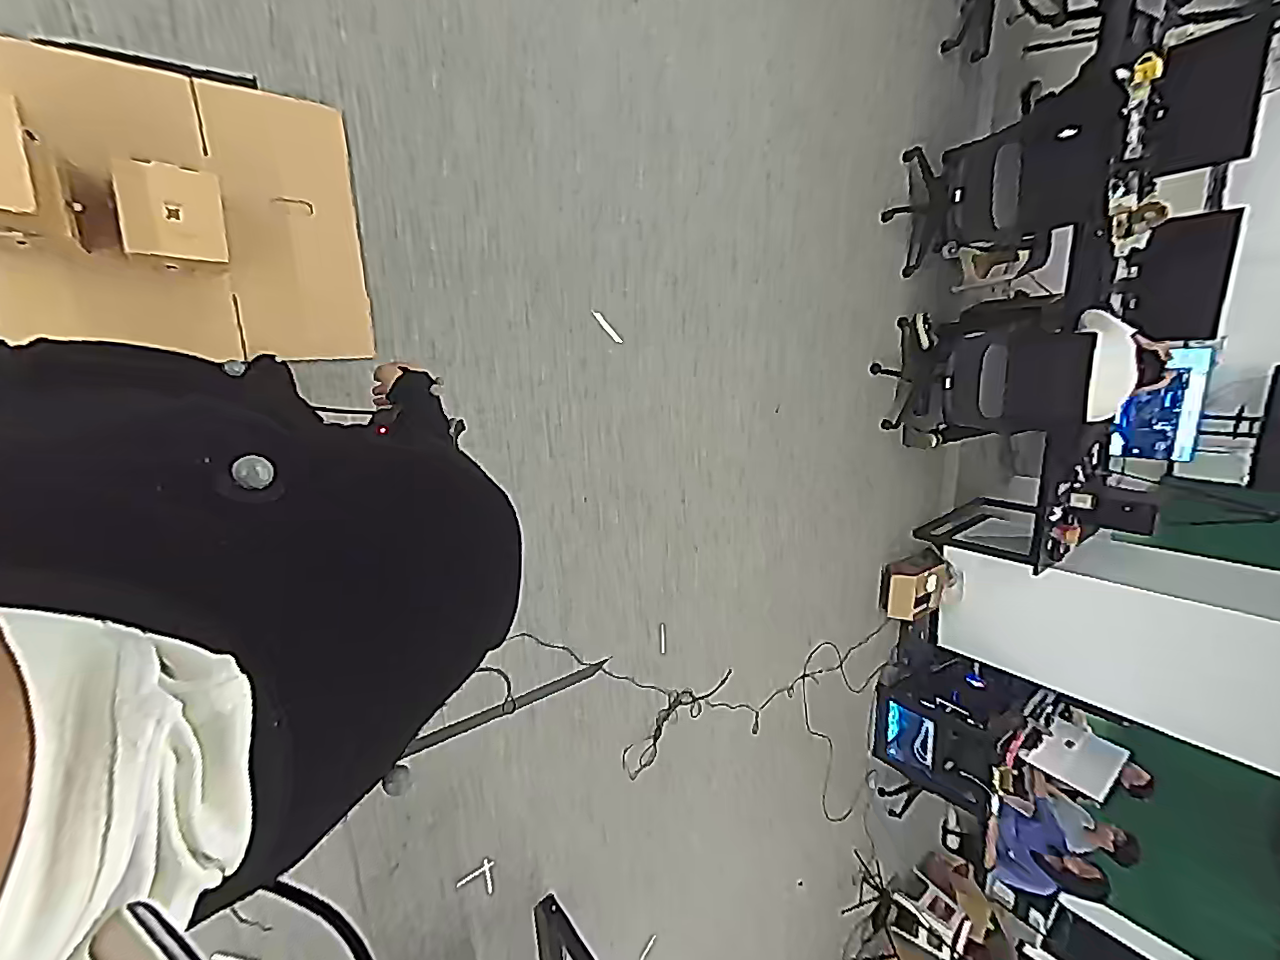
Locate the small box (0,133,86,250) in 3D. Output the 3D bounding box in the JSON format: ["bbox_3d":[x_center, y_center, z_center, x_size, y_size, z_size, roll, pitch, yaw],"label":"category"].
[{"bbox_3d":[-1.153,-0.527,0.984,0.168,0.176,0.179,-9,105,-36],"label":"small box"}]

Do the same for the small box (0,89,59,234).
[{"bbox_3d":[-1.061,-0.506,0.848,0.168,0.176,0.179,-8,104,-36],"label":"small box"}]

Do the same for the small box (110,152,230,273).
[{"bbox_3d":[-0.971,-0.543,1.124,0.168,0.176,0.179,-8,104,-38],"label":"small box"}]
